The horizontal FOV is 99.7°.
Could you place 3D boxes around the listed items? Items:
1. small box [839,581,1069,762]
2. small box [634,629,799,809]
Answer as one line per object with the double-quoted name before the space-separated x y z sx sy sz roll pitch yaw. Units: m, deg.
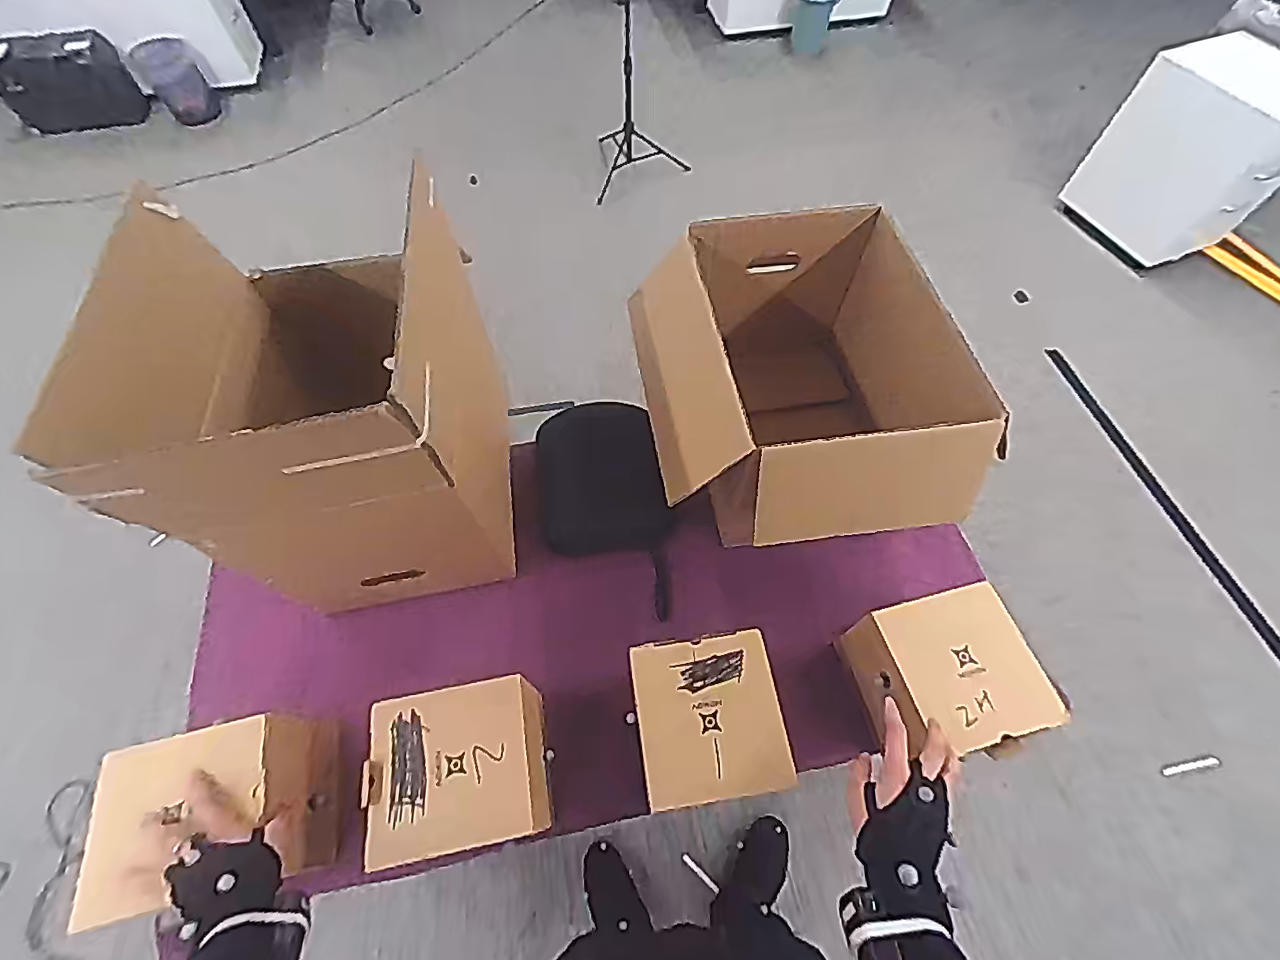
"small box" 0.390 0.257 0.715 0.168 0.176 0.179 -13 62 -5
"small box" 0.082 0.307 0.692 0.168 0.176 0.179 -7 62 -3
